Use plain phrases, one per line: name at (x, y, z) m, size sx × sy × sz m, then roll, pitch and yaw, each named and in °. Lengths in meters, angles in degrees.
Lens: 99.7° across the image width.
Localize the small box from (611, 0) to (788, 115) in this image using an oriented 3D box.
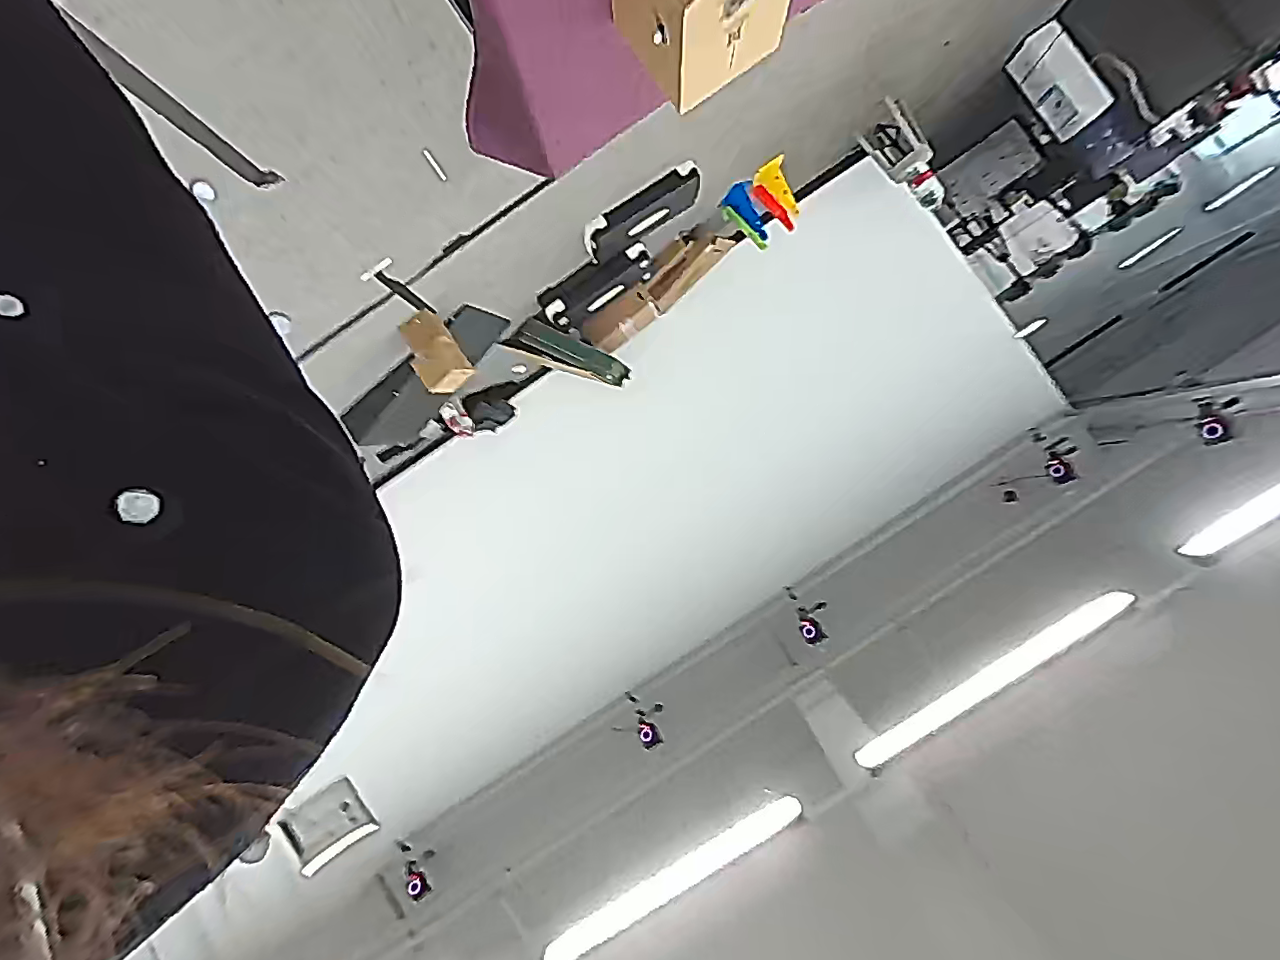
small box at (0.070, -0.619, 0.667) m, size 0.168 × 0.176 × 0.179 m, roll -35°, pitch 178°, yaw 2°
